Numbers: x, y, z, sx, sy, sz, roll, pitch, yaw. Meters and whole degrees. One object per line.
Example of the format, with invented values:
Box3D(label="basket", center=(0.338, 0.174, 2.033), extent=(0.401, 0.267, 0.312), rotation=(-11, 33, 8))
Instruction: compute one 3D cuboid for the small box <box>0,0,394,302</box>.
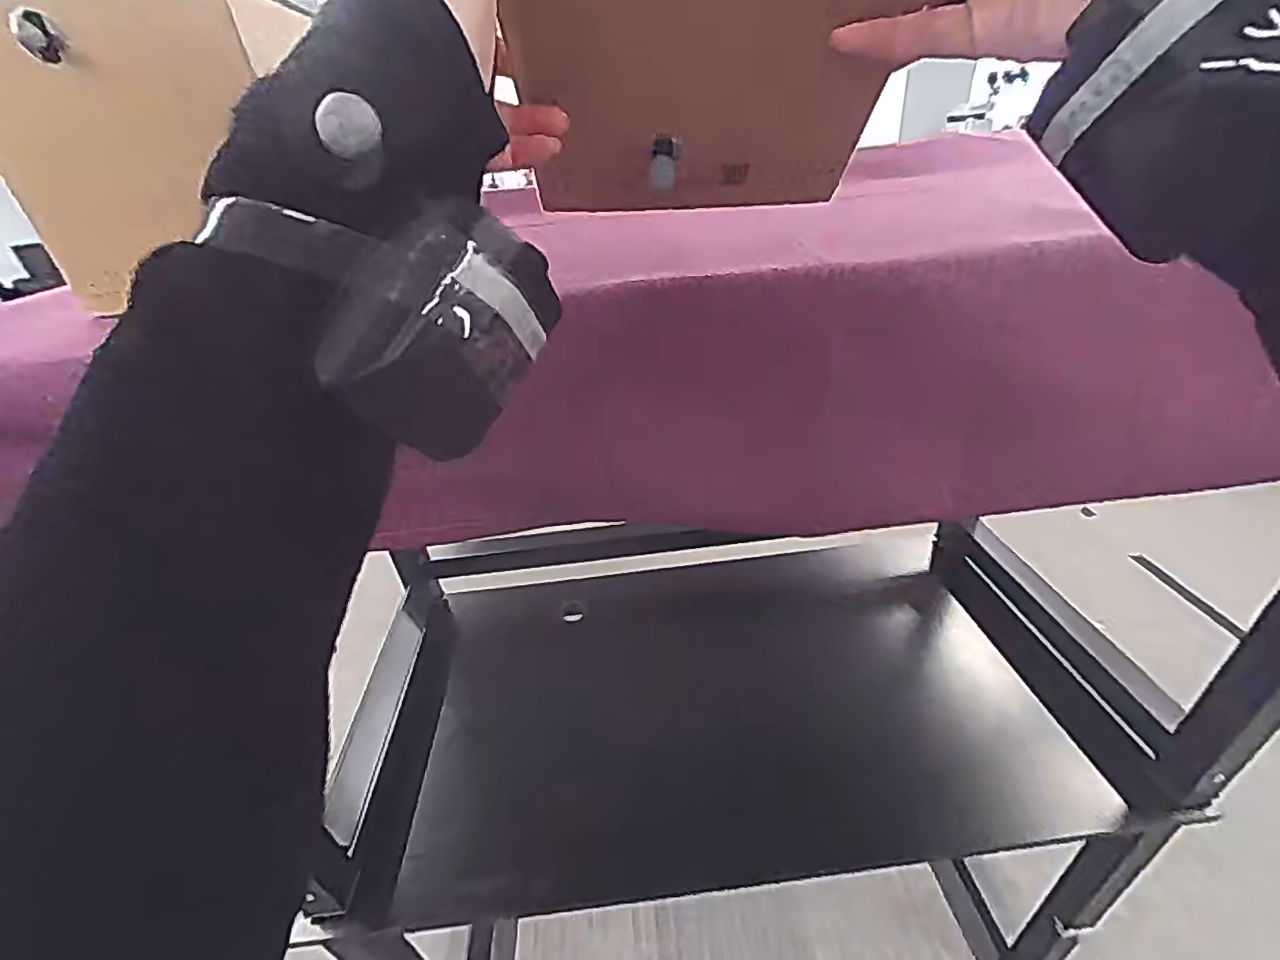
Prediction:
Box3D(label="small box", center=(-0.301, -0.236, 0.392), extent=(0.168, 0.176, 0.179), rotation=(-7, 32, -2))

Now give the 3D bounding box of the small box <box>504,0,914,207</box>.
Box3D(label="small box", center=(0.022, -0.259, 0.247), extent=(0.168, 0.176, 0.179), rotation=(-4, 76, -1))
